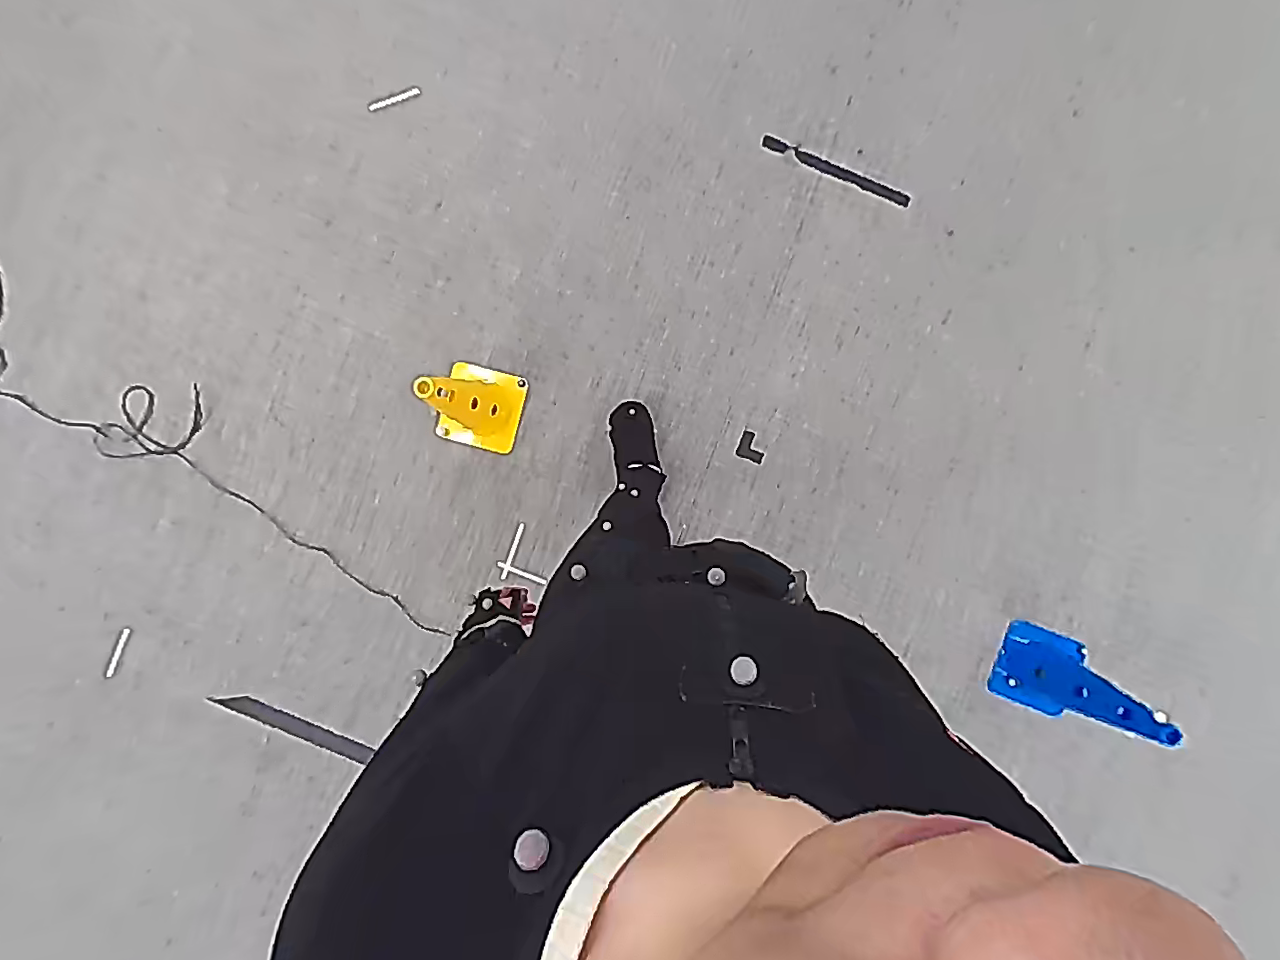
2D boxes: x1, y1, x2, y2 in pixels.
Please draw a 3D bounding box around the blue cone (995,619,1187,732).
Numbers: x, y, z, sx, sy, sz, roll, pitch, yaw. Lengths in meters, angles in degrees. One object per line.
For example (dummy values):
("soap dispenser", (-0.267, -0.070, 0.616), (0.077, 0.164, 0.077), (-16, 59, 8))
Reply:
("blue cone", (0.993, 0.459, 1.184), (0.193, 0.380, 0.192), (23, 90, 1))
